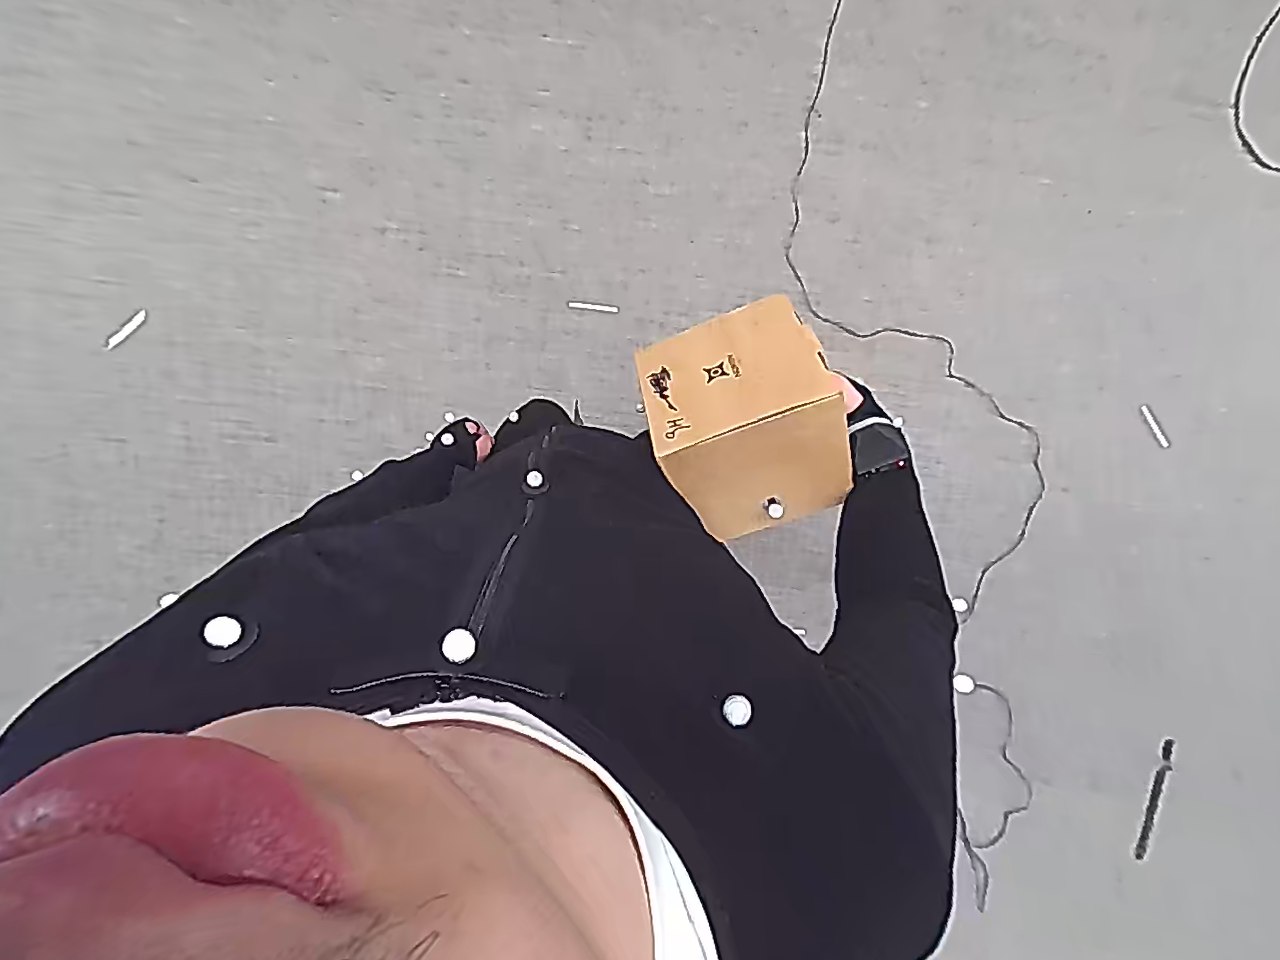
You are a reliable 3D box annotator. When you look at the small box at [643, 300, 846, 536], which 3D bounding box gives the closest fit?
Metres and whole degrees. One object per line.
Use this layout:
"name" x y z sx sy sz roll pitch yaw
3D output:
"small box" 0.120 -0.063 0.612 0.179 0.168 0.176 -19 137 10
